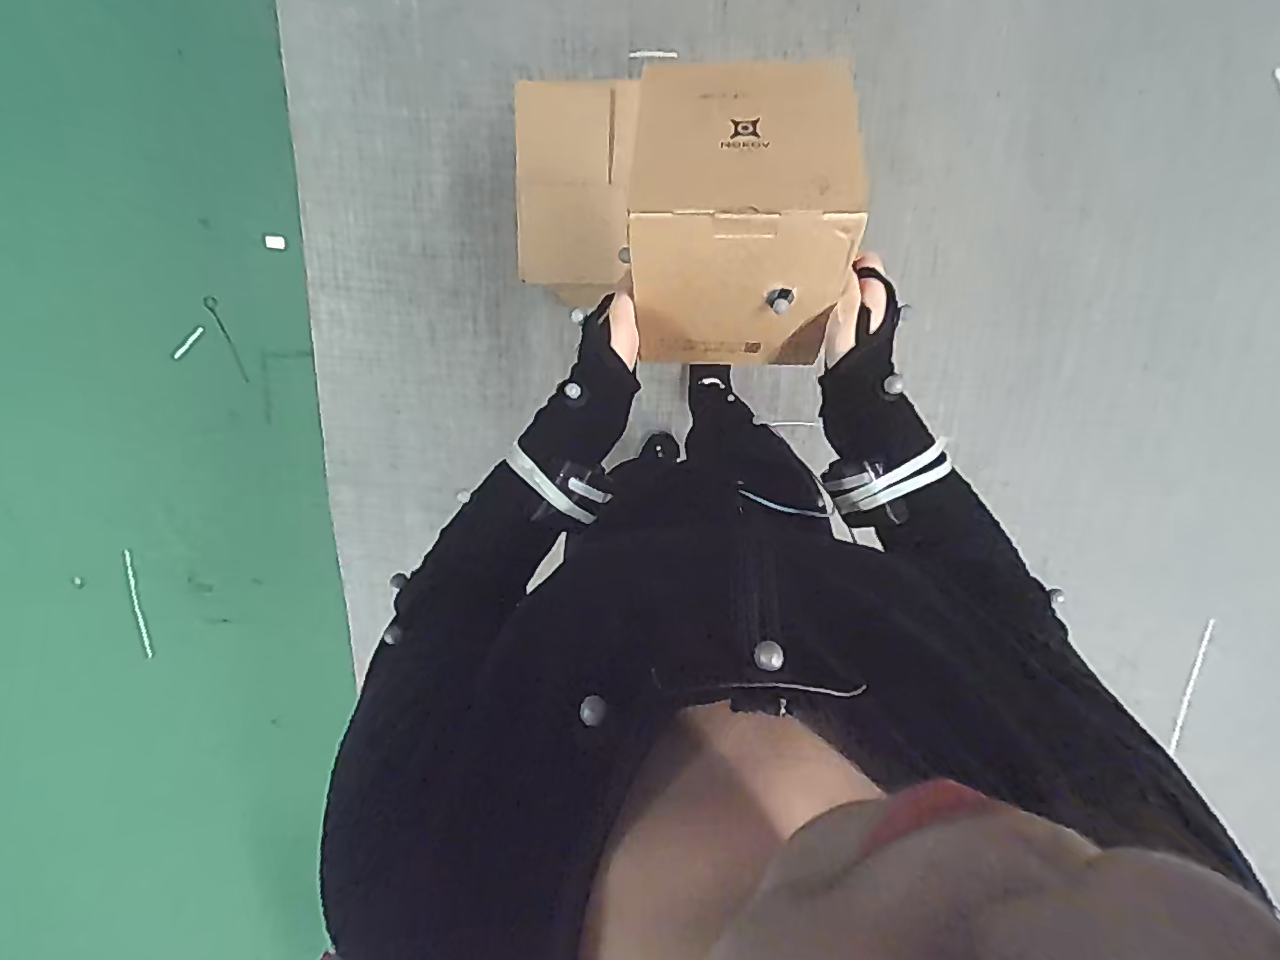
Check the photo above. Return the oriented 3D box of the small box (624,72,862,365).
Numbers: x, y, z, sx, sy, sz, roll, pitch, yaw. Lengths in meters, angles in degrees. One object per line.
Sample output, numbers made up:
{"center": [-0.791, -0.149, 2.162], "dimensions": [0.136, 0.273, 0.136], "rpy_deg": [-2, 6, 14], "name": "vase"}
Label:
{"center": [0.081, -0.219, 0.479], "dimensions": [0.168, 0.176, 0.179], "rpy_deg": [2, 63, 4], "name": "small box"}
